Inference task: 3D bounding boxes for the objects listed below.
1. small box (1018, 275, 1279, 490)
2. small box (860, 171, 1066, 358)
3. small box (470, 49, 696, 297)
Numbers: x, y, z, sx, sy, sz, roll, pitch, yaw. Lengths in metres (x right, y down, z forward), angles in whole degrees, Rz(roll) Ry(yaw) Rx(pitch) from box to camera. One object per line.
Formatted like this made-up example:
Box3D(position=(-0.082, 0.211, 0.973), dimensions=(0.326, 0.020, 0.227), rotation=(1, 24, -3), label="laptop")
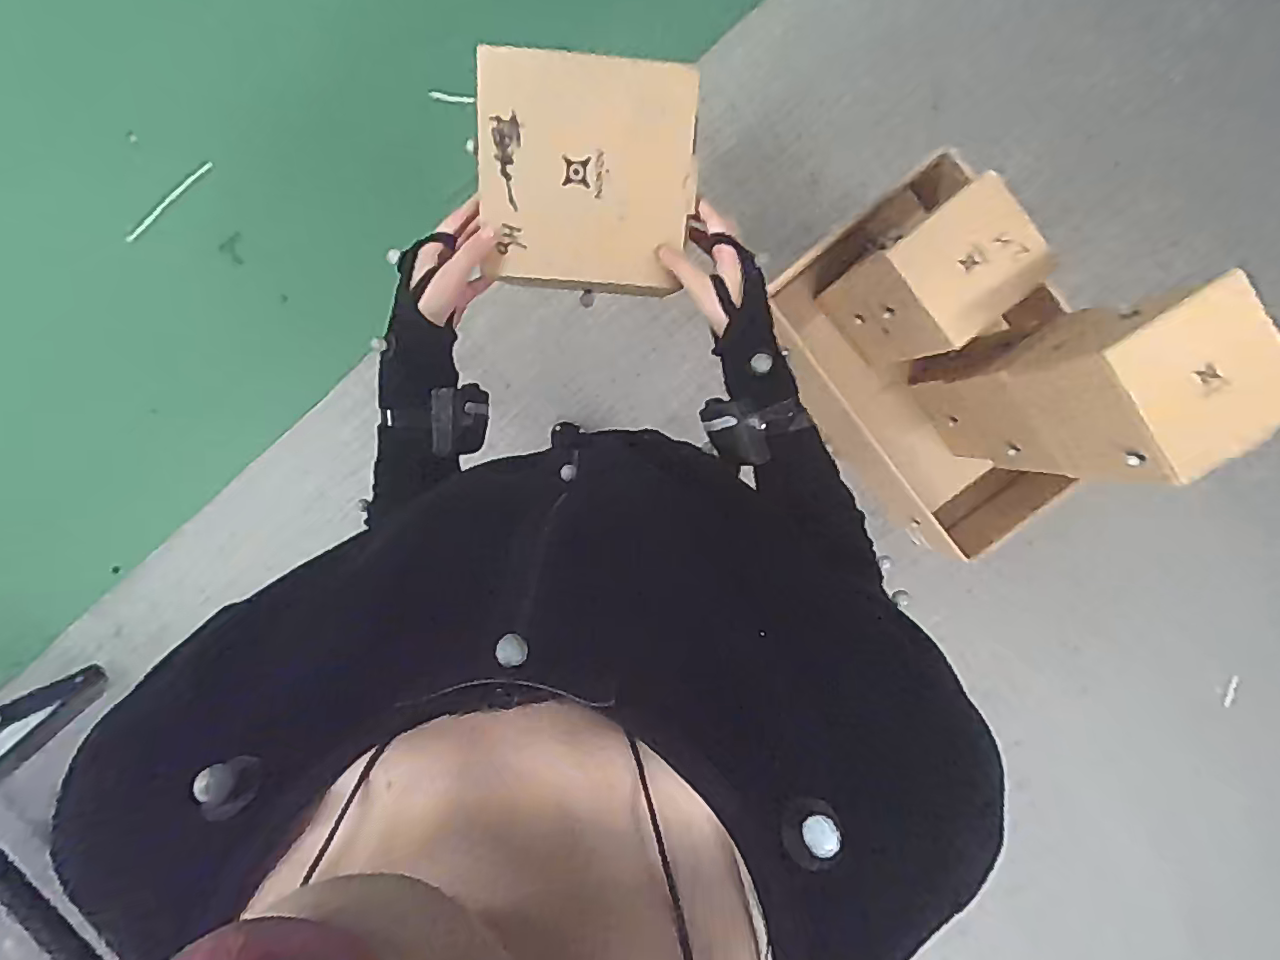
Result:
Box3D(position=(0.614, -0.108, 0.654), dimensions=(0.168, 0.176, 0.179), rotation=(-33, 93, 4), label="small box")
Box3D(position=(0.453, -0.299, 0.797), dimensions=(0.179, 0.176, 0.168), rotation=(-38, 95, 6), label="small box")
Box3D(position=(-0.053, -0.267, 0.514), dimensions=(0.179, 0.176, 0.168), rotation=(2, 106, -5), label="small box")
